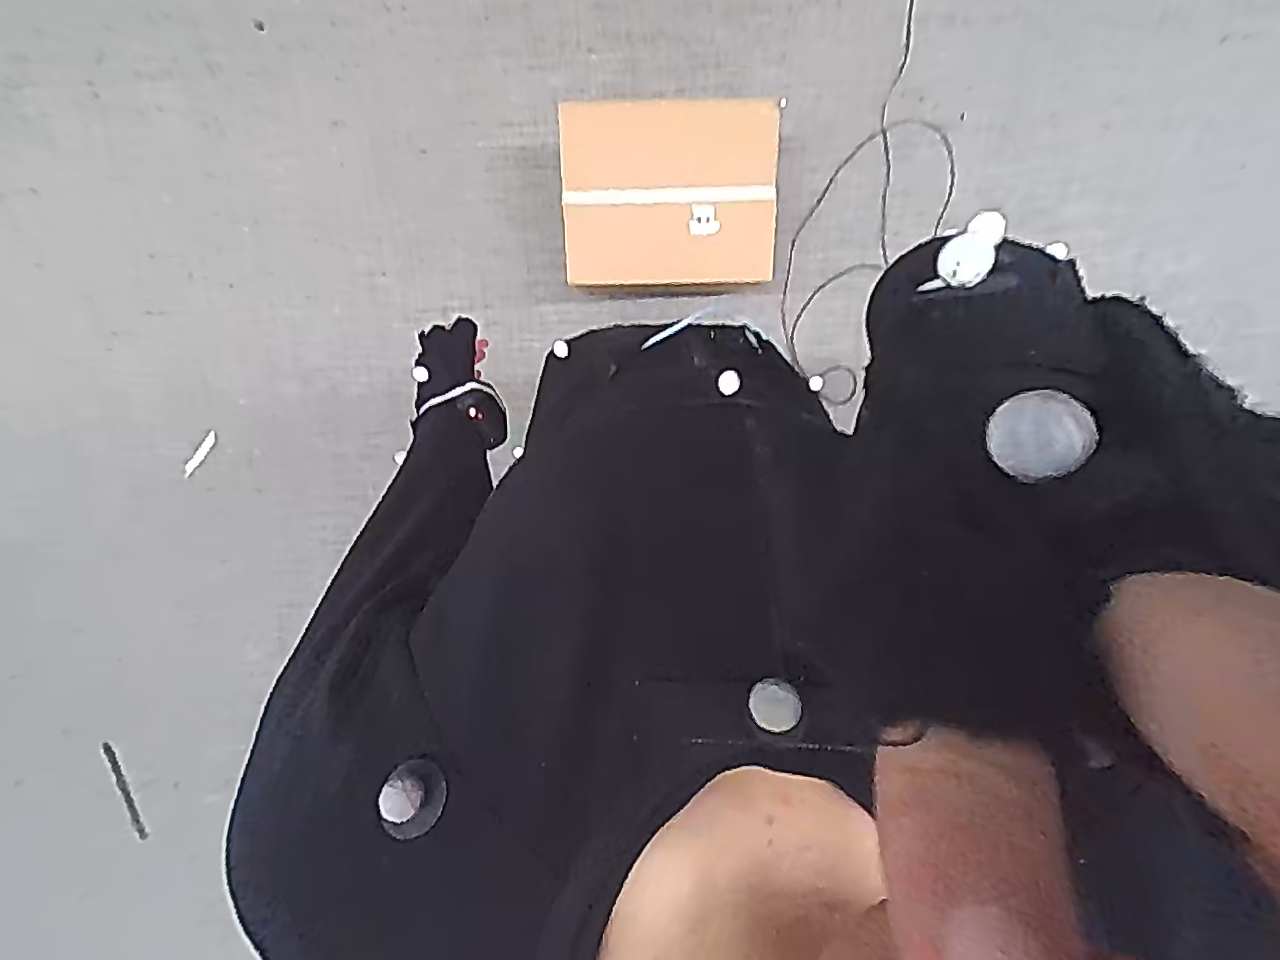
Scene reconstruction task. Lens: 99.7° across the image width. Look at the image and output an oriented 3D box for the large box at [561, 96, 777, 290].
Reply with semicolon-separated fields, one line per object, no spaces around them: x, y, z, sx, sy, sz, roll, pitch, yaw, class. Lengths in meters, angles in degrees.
0.054;-0.589;1.170;0.408;0.320;0.320;-1;107;0;large box
